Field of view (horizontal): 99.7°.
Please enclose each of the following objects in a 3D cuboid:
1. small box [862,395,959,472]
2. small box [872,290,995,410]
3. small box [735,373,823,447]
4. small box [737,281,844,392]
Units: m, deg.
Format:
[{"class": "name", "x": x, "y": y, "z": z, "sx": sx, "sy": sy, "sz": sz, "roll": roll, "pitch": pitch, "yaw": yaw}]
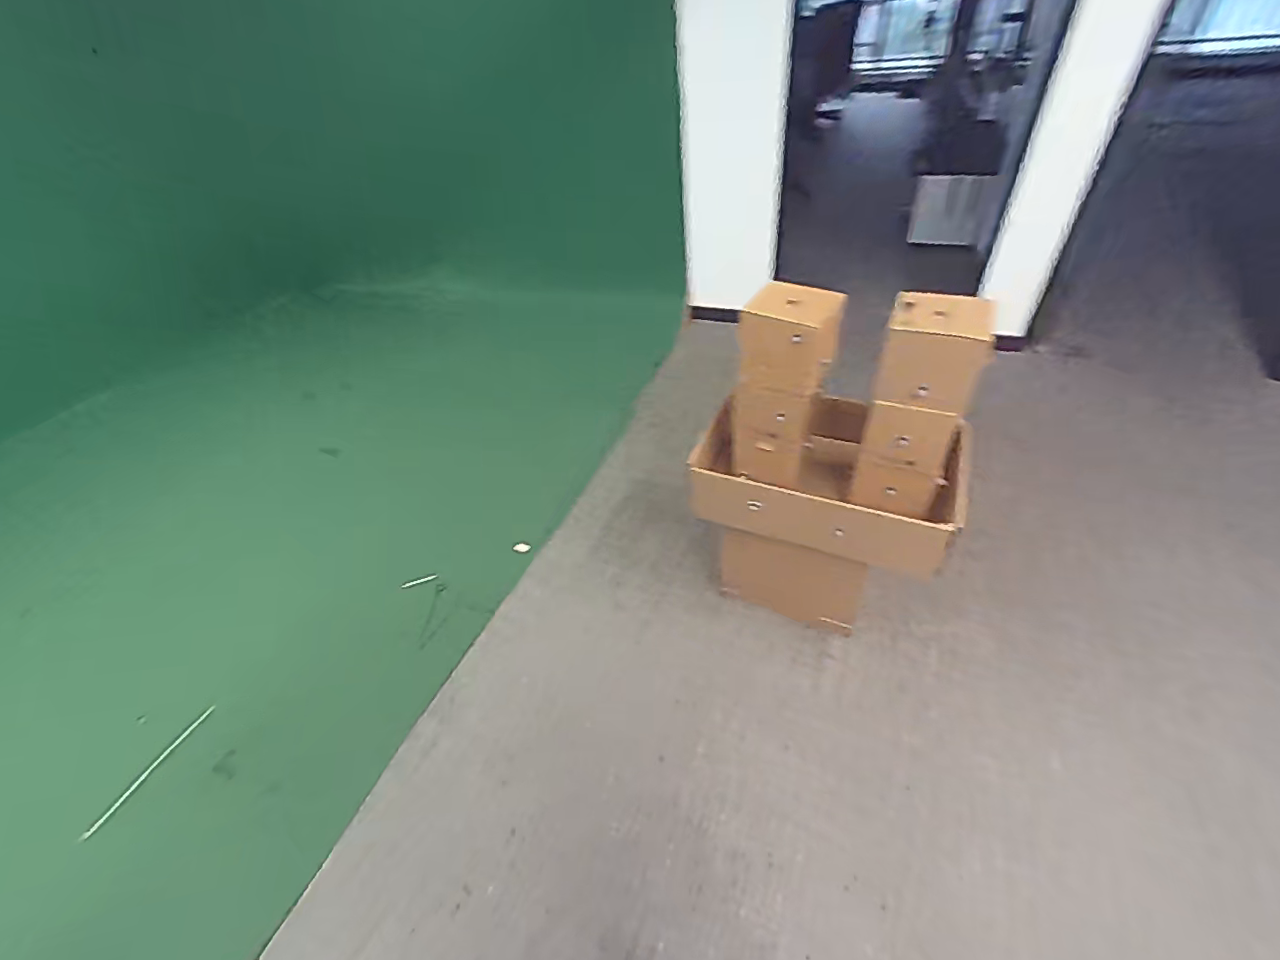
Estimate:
[{"class": "small box", "x": 0.608, "y": -0.143, "z": 1.216, "sx": 0.168, "sy": 0.176, "sz": 0.179, "roll": 15, "pitch": 48, "yaw": 22}, {"class": "small box", "x": 0.594, "y": -0.263, "z": 1.103, "sx": 0.179, "sy": 0.176, "sz": 0.168, "roll": 15, "pitch": 48, "yaw": 22}, {"class": "small box", "x": 0.341, "y": -0.206, "z": 1.325, "sx": 0.168, "sy": 0.176, "sz": 0.179, "roll": 19, "pitch": 49, "yaw": 24}, {"class": "small box", "x": 0.329, "y": -0.319, "z": 1.209, "sx": 0.179, "sy": 0.176, "sz": 0.168, "roll": 23, "pitch": 51, "yaw": 25}]
